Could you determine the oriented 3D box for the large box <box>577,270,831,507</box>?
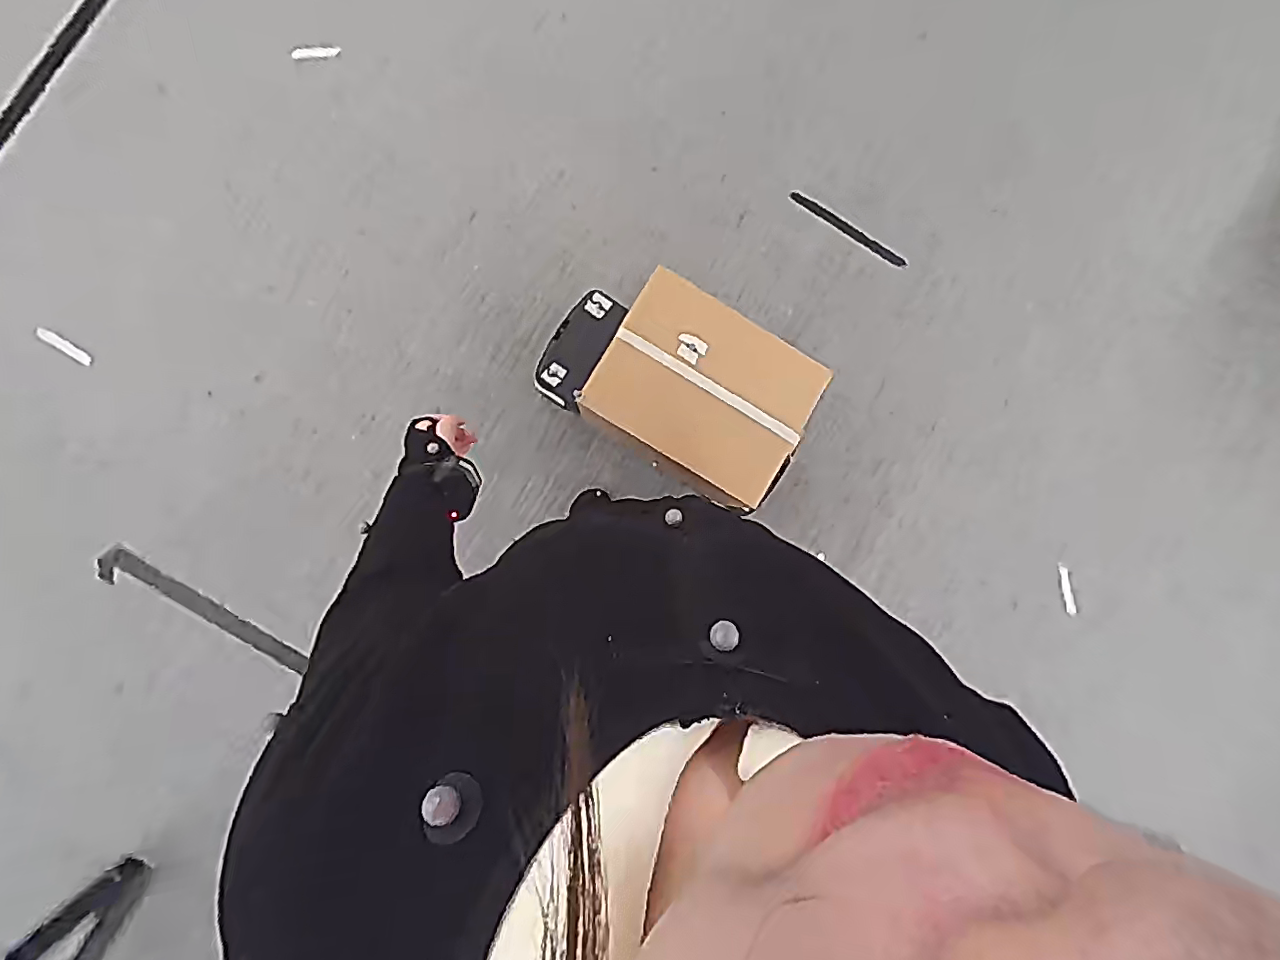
[{"bbox_3d":[0.120,-0.172,1.178,0.408,0.320,0.320,31,87,-2],"label":"large box"}]
